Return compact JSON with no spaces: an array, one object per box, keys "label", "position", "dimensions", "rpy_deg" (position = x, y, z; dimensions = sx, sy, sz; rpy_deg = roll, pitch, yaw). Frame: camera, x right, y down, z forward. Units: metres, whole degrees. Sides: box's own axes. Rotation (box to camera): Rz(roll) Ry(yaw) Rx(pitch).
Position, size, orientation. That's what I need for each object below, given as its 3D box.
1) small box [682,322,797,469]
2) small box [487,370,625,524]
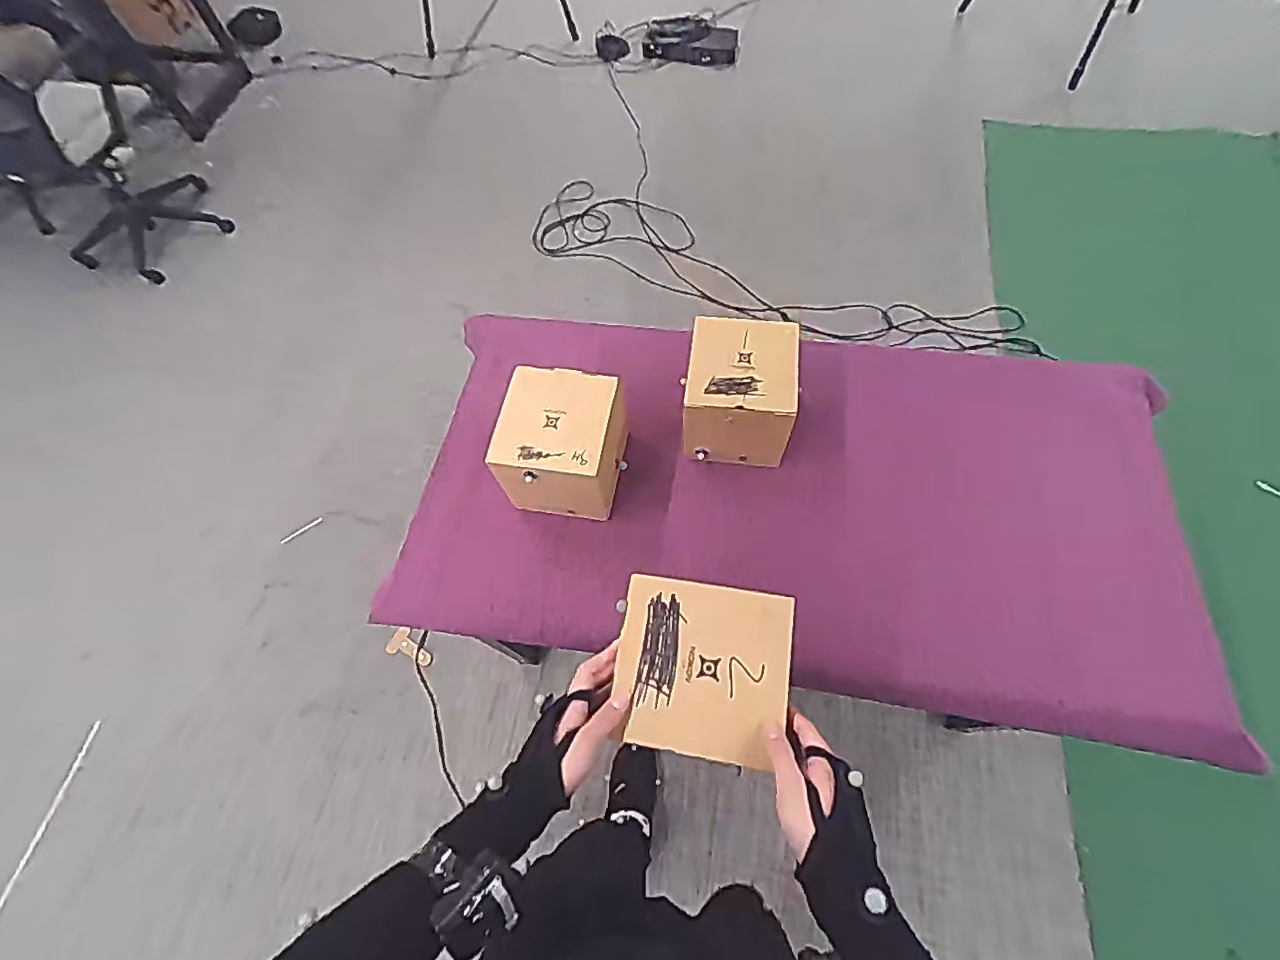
[{"label":"small box","position":[0.161,-0.135,0.899],"dimensions":[0.168,0.176,0.179],"rpy_deg":[6,63,7]},{"label":"small box","position":[-0.121,-0.050,0.871],"dimensions":[0.168,0.176,0.179],"rpy_deg":[7,63,9]}]
